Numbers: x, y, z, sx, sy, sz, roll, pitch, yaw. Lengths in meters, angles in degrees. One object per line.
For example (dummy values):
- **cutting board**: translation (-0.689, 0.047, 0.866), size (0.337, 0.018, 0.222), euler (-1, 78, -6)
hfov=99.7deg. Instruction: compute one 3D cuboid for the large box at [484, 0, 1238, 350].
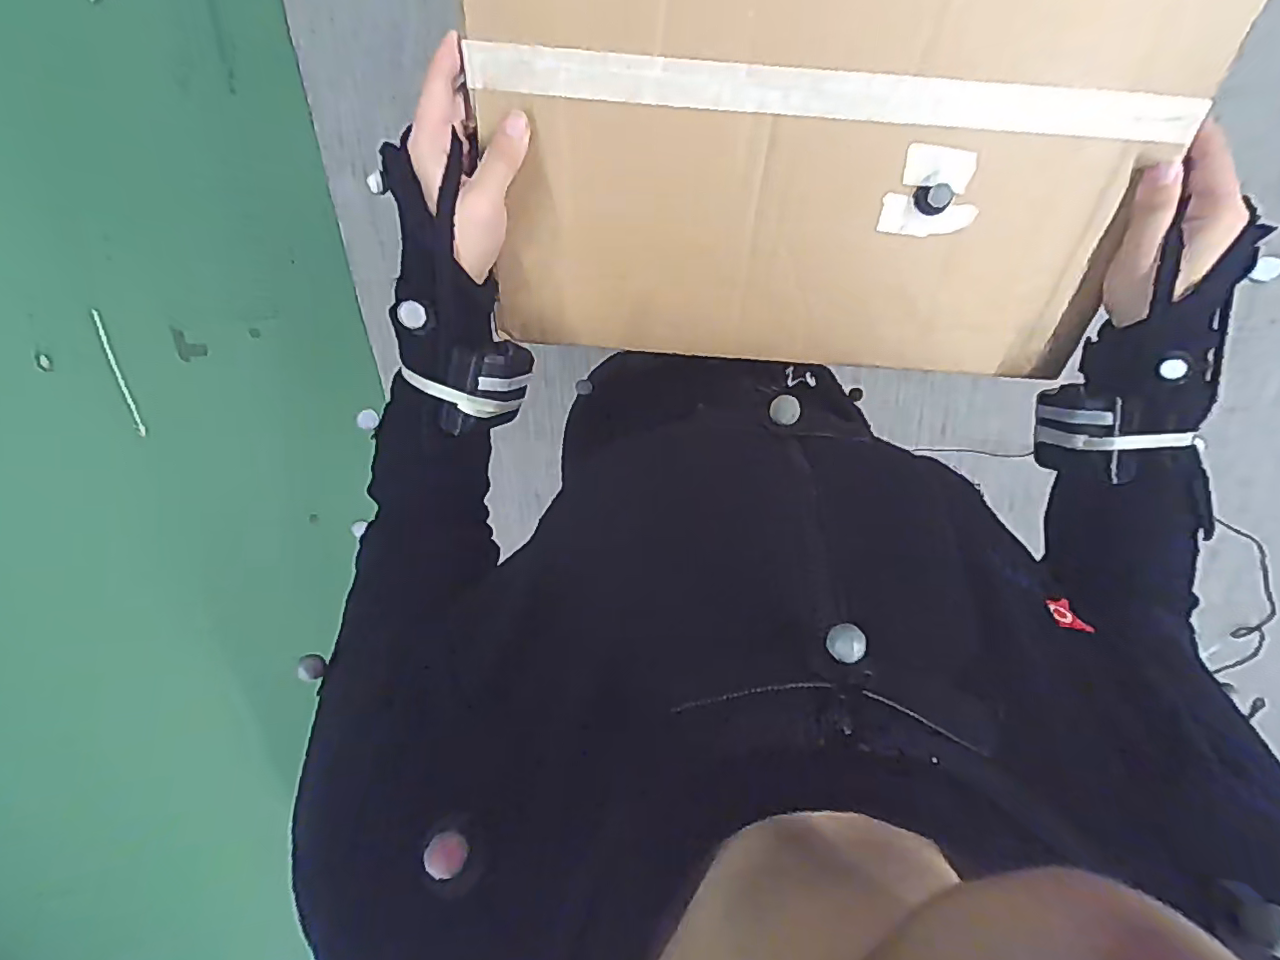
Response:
- **large box**: translation (0.111, -0.311, 0.427), size (0.408, 0.320, 0.320), euler (3, 126, -2)
